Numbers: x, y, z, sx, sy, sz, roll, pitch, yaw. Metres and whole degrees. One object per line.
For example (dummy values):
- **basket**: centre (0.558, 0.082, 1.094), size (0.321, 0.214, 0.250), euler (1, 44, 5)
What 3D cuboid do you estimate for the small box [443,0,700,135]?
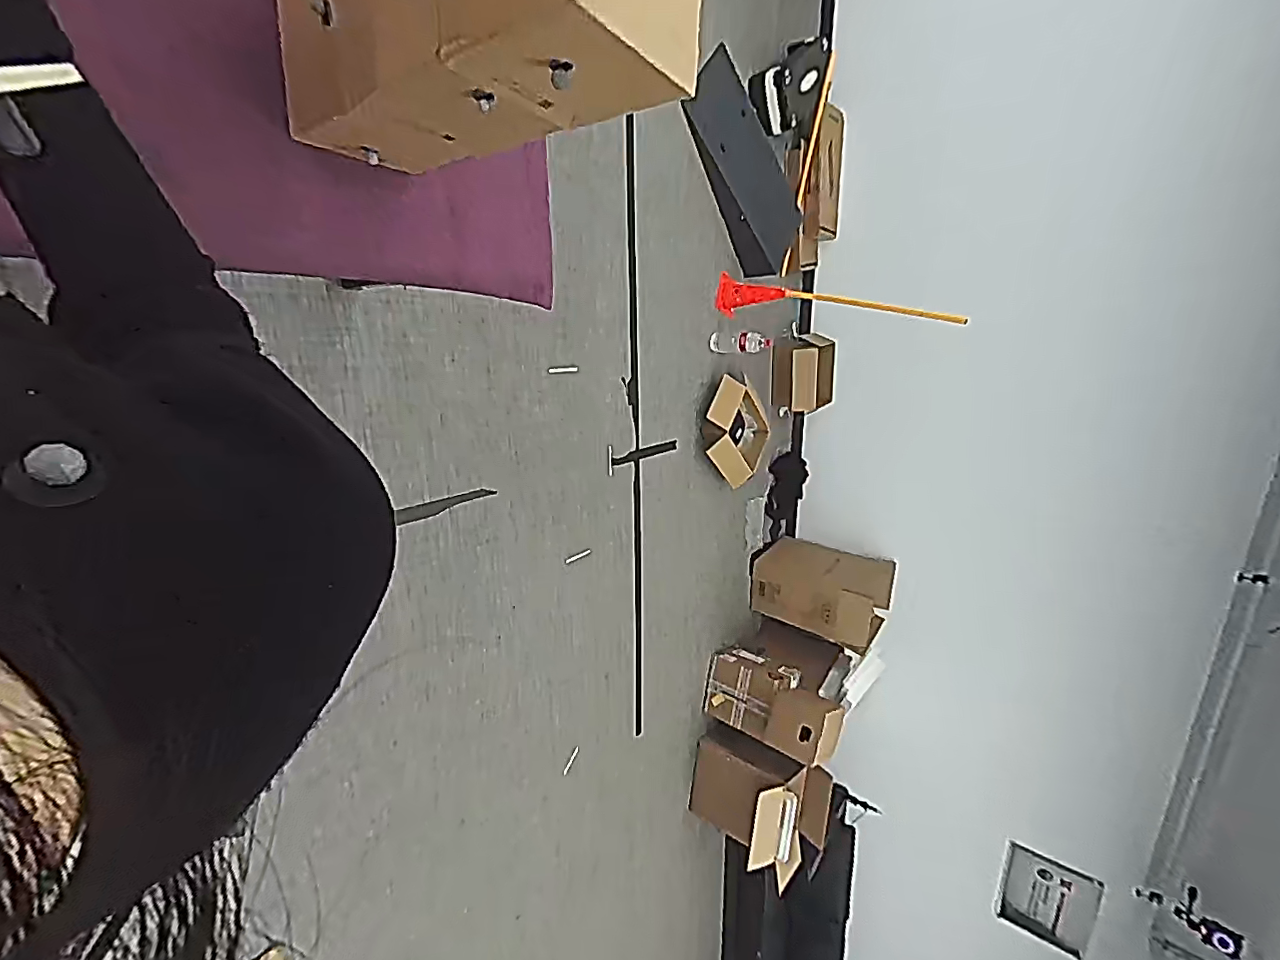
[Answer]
- **small box**: centre (-0.061, -0.444, 0.485), size (0.168, 0.176, 0.179), euler (-12, 108, -51)

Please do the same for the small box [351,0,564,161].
- **small box**: centre (-0.191, -0.475, 0.578), size (0.168, 0.176, 0.179), euler (-11, 107, -51)

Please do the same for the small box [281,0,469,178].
- **small box**: centre (-0.321, -0.505, 0.674), size (0.168, 0.176, 0.179), euler (-15, 111, -51)
